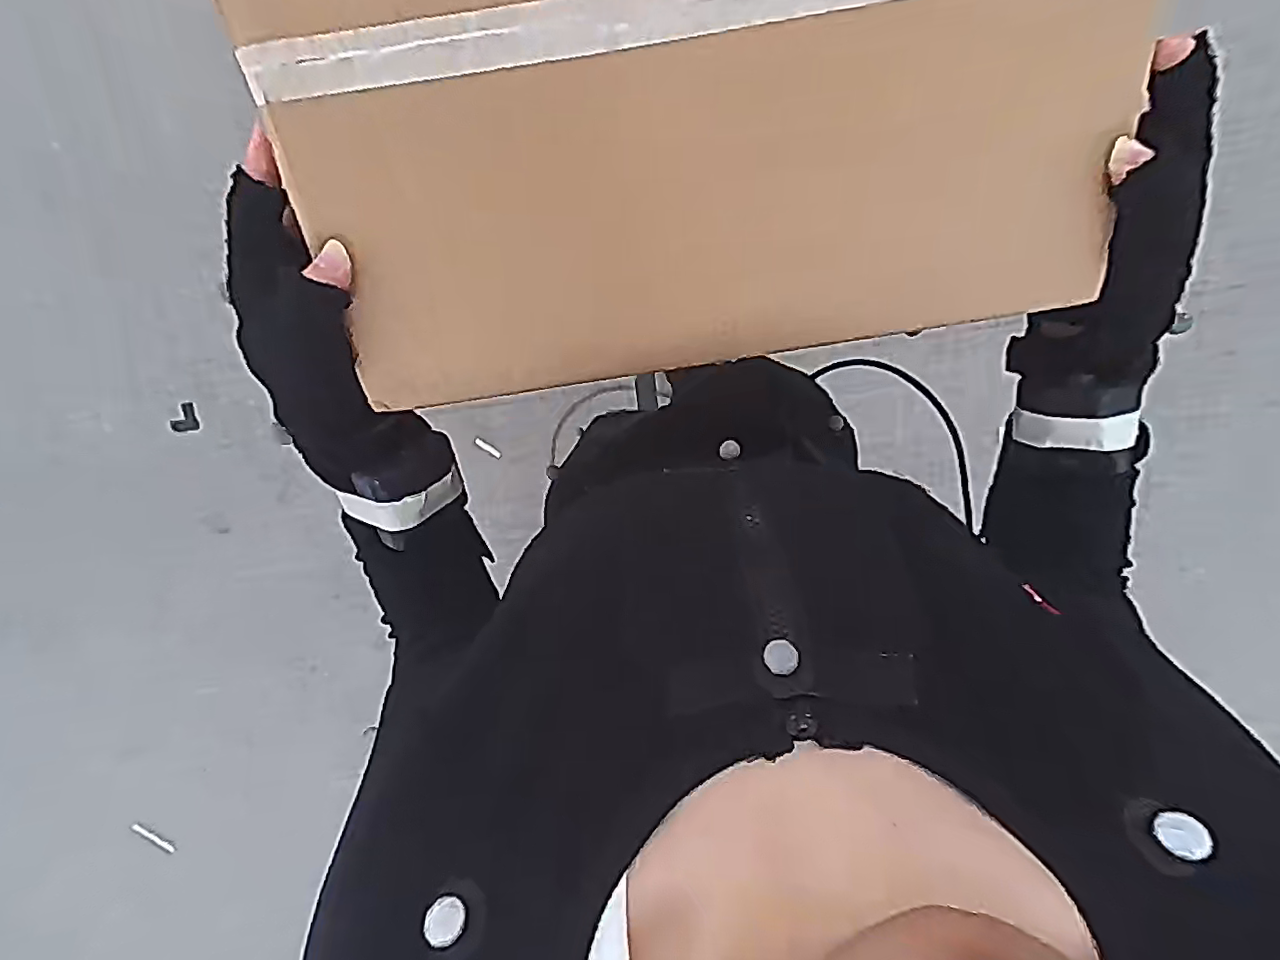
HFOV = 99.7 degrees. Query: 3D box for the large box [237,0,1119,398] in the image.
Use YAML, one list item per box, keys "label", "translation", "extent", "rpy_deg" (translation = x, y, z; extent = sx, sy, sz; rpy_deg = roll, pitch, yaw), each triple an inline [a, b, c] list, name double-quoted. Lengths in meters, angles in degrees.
- label: "large box"
  translation: [0.017, -0.279, 0.376]
  extent: [0.408, 0.320, 0.320]
  rpy_deg: [-9, 115, 1]
